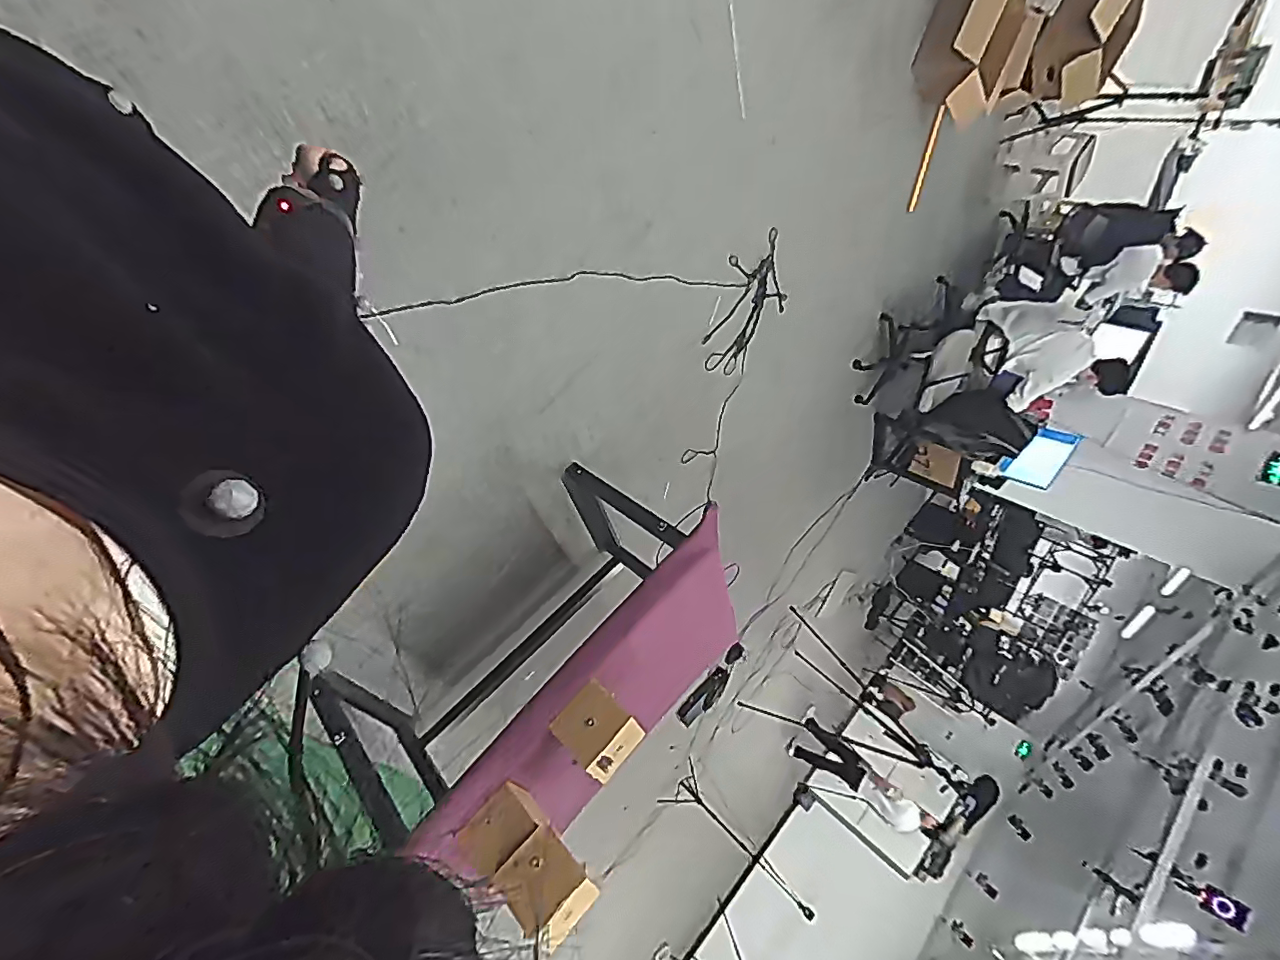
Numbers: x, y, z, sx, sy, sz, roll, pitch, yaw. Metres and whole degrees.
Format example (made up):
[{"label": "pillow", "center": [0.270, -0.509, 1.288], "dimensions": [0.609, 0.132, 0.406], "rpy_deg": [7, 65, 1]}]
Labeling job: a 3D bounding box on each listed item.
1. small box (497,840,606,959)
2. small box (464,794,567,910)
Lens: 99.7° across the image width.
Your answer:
[{"label": "small box", "center": [-0.209, 1.000, 1.280], "dimensions": [0.168, 0.176, 0.179], "rpy_deg": [-38, 137, -27]}, {"label": "small box", "center": [-0.326, 0.957, 1.388], "dimensions": [0.179, 0.176, 0.168], "rpy_deg": [-43, 141, -20]}]
